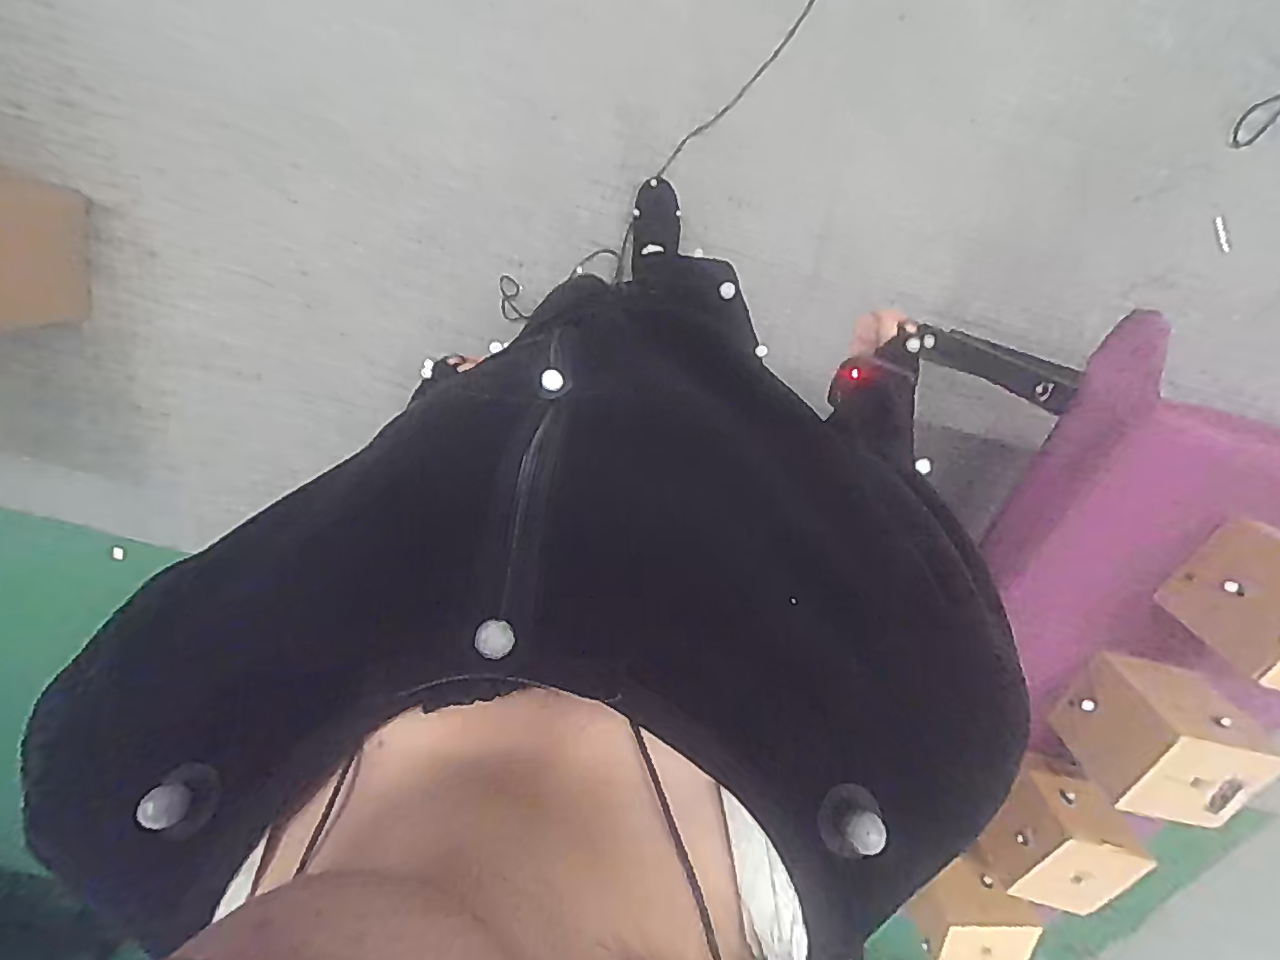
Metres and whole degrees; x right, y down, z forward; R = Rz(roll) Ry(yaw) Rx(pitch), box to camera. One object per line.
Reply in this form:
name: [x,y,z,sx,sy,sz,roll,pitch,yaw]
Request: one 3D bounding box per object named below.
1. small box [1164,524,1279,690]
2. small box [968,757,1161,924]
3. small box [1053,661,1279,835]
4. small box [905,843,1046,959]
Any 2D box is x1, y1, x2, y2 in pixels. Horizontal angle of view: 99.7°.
small box: [0.894,0.181,0.732,0.179,0.176,0.168,18,116,-5]
small box: [0.730,0.630,0.957,0.168,0.176,0.179,20,115,-6]
small box: [0.815,0.411,0.846,0.179,0.176,0.168,13,115,-2]
small box: [0.645,0.848,1.066,0.168,0.176,0.179,-3,116,4]
